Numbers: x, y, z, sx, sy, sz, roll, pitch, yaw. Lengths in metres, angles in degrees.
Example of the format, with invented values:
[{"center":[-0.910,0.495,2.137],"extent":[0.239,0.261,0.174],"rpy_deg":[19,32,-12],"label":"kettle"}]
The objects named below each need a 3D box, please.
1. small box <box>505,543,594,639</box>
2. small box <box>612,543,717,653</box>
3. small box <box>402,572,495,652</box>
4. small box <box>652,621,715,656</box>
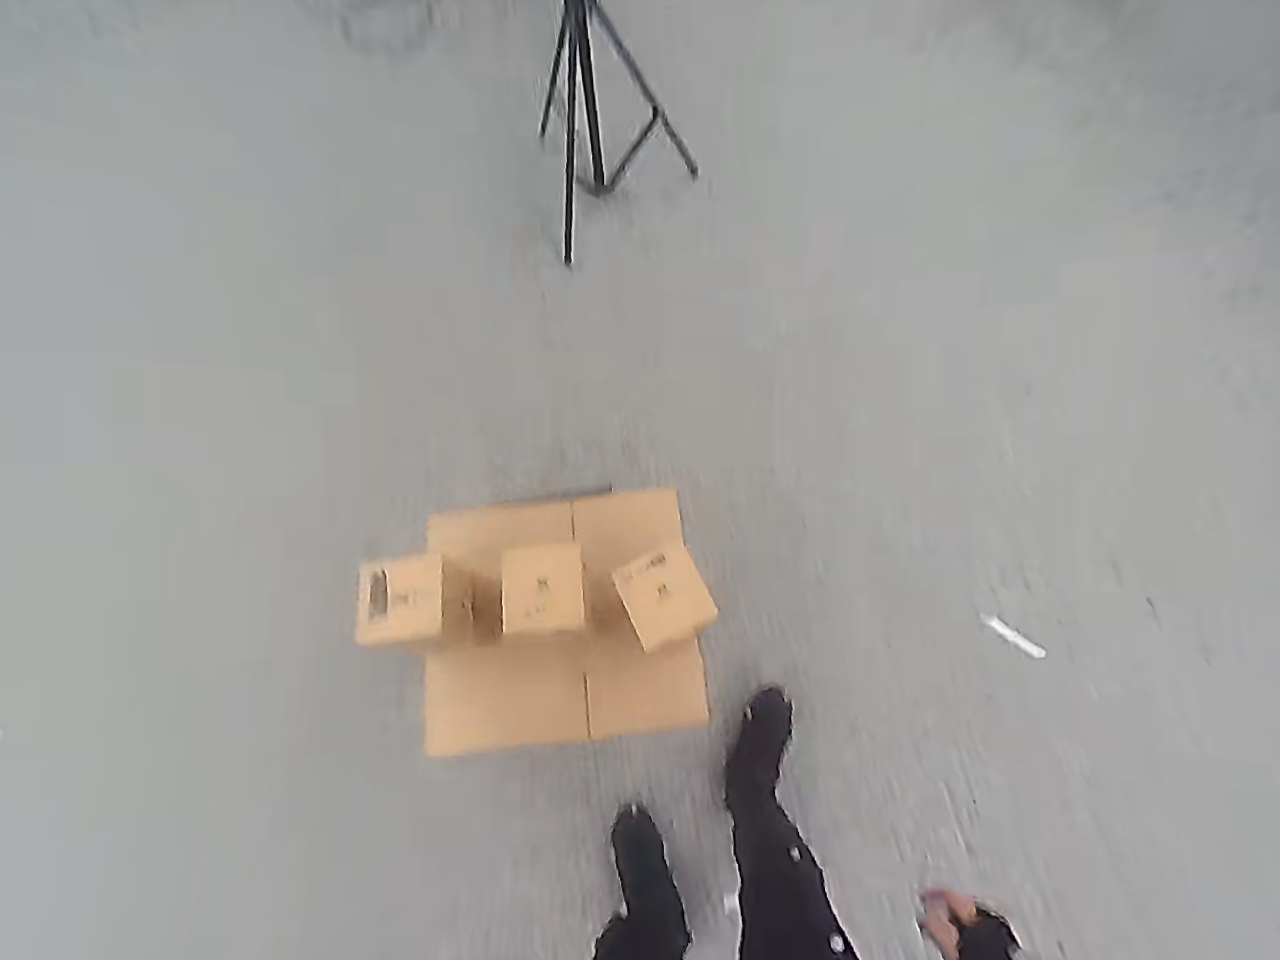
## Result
[{"center":[-0.193,0.247,1.185],"extent":[0.168,0.176,0.179],"rpy_deg":[-5,70,0],"label":"small box"},{"center":[0.053,0.260,1.173],"extent":[0.168,0.176,0.179],"rpy_deg":[-24,71,-6],"label":"small box"},{"center":[-0.463,0.330,1.337],"extent":[0.179,0.176,0.168],"rpy_deg":[-7,70,1],"label":"small box"},{"center":[0.066,0.315,1.326],"extent":[0.168,0.176,0.179],"rpy_deg":[-26,70,-7],"label":"small box"}]
